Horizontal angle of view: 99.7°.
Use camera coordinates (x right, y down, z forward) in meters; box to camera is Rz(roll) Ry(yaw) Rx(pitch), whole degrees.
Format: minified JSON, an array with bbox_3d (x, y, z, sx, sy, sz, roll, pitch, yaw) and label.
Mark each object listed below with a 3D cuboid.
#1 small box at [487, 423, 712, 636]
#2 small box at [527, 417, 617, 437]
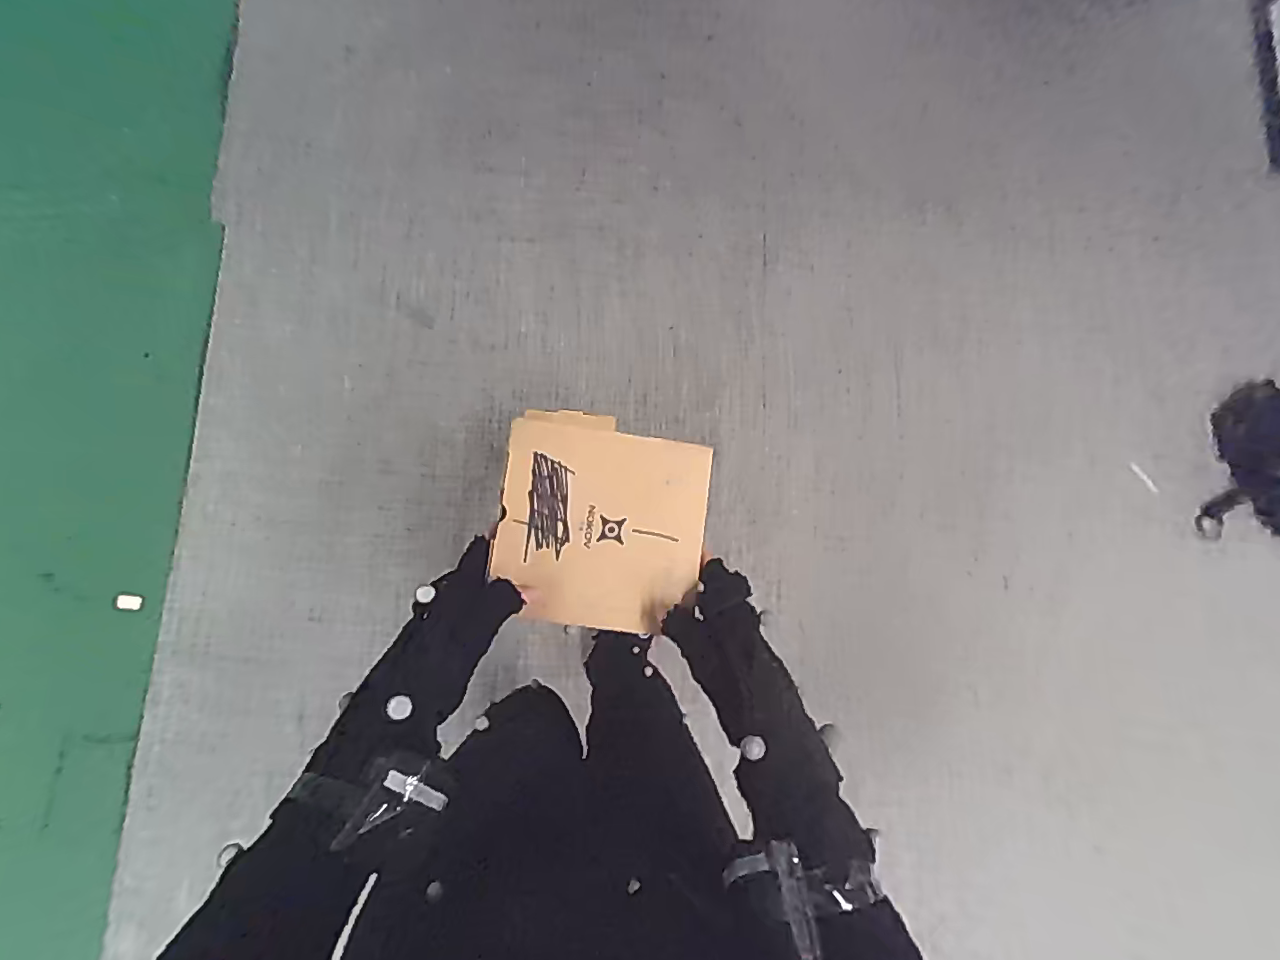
[{"bbox_3d":[-0.040,0.054,0.542,0.179,0.176,0.168,8,81,-6],"label":"small box"},{"bbox_3d":[-0.132,-0.010,1.042,0.168,0.176,0.179,4,82,0],"label":"small box"}]
